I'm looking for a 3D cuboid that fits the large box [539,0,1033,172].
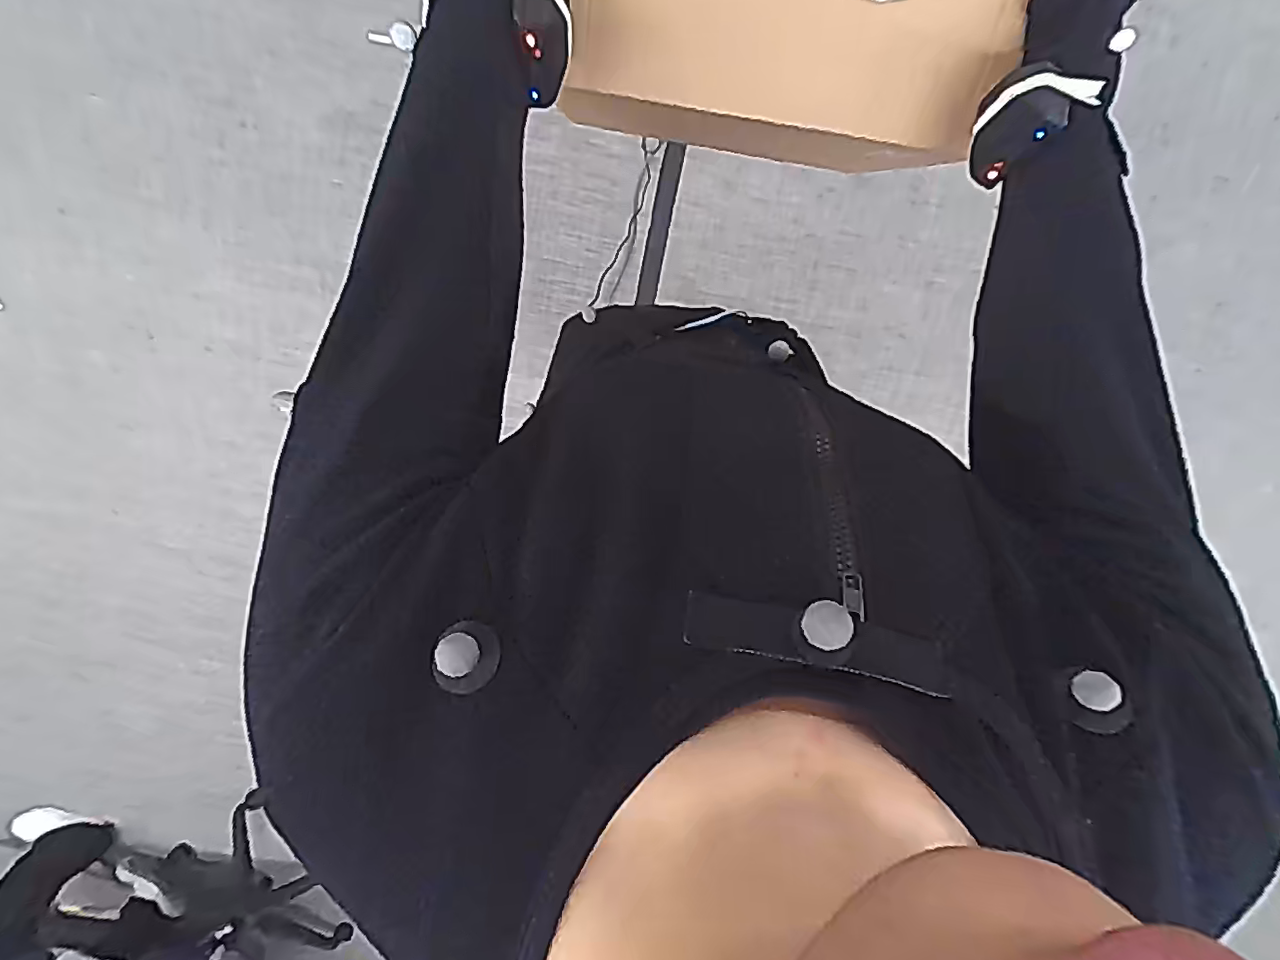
[{"bbox_3d":[0.124,-0.513,0.538,0.408,0.320,0.320,7,118,-4],"label":"large box"}]
